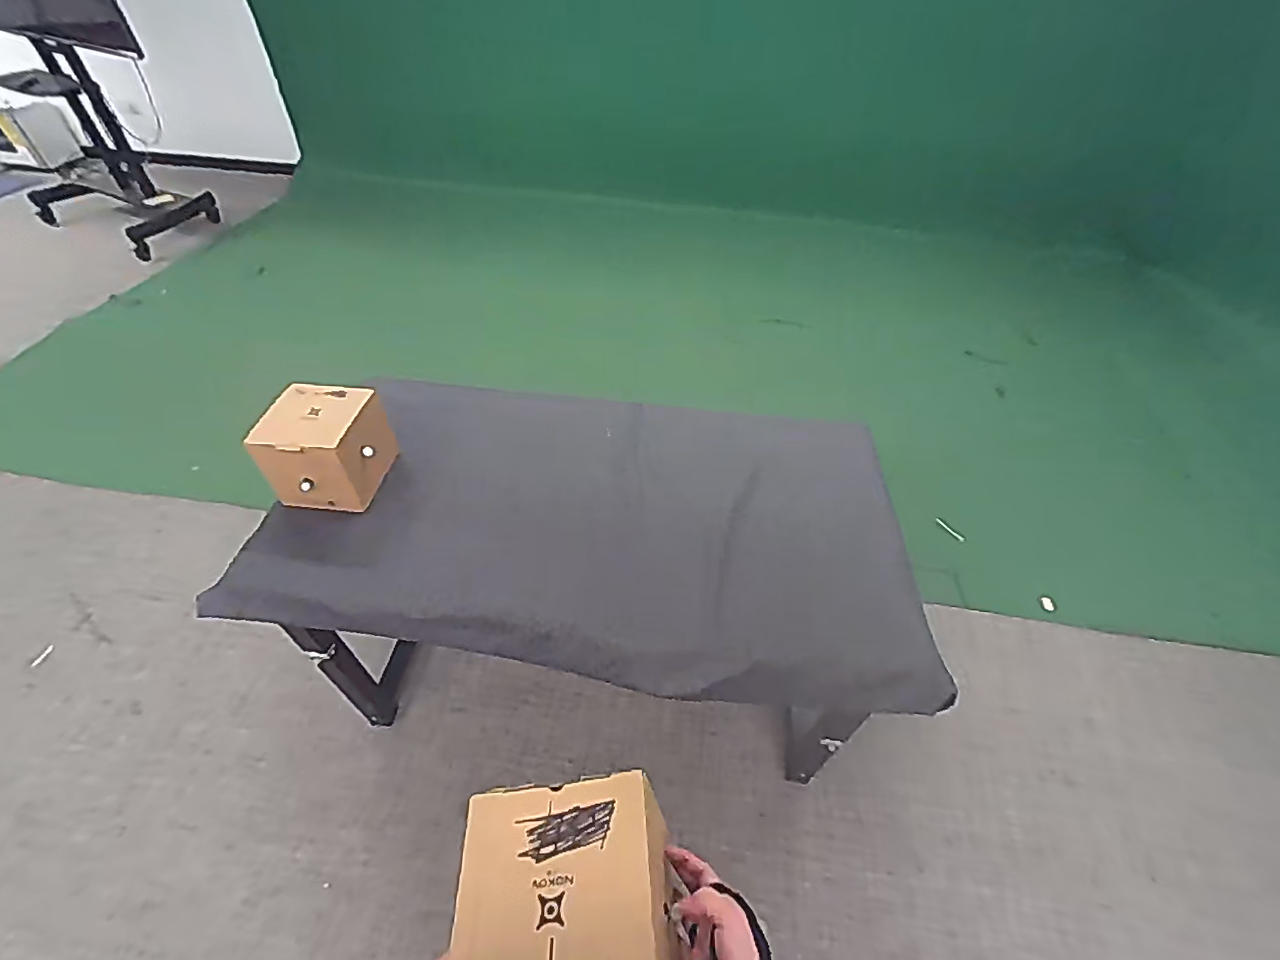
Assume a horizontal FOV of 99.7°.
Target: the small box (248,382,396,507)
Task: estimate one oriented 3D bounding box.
[{"bbox_3d":[-0.600,-0.067,1.052,0.168,0.176,0.179,6,48,0],"label":"small box"}]
